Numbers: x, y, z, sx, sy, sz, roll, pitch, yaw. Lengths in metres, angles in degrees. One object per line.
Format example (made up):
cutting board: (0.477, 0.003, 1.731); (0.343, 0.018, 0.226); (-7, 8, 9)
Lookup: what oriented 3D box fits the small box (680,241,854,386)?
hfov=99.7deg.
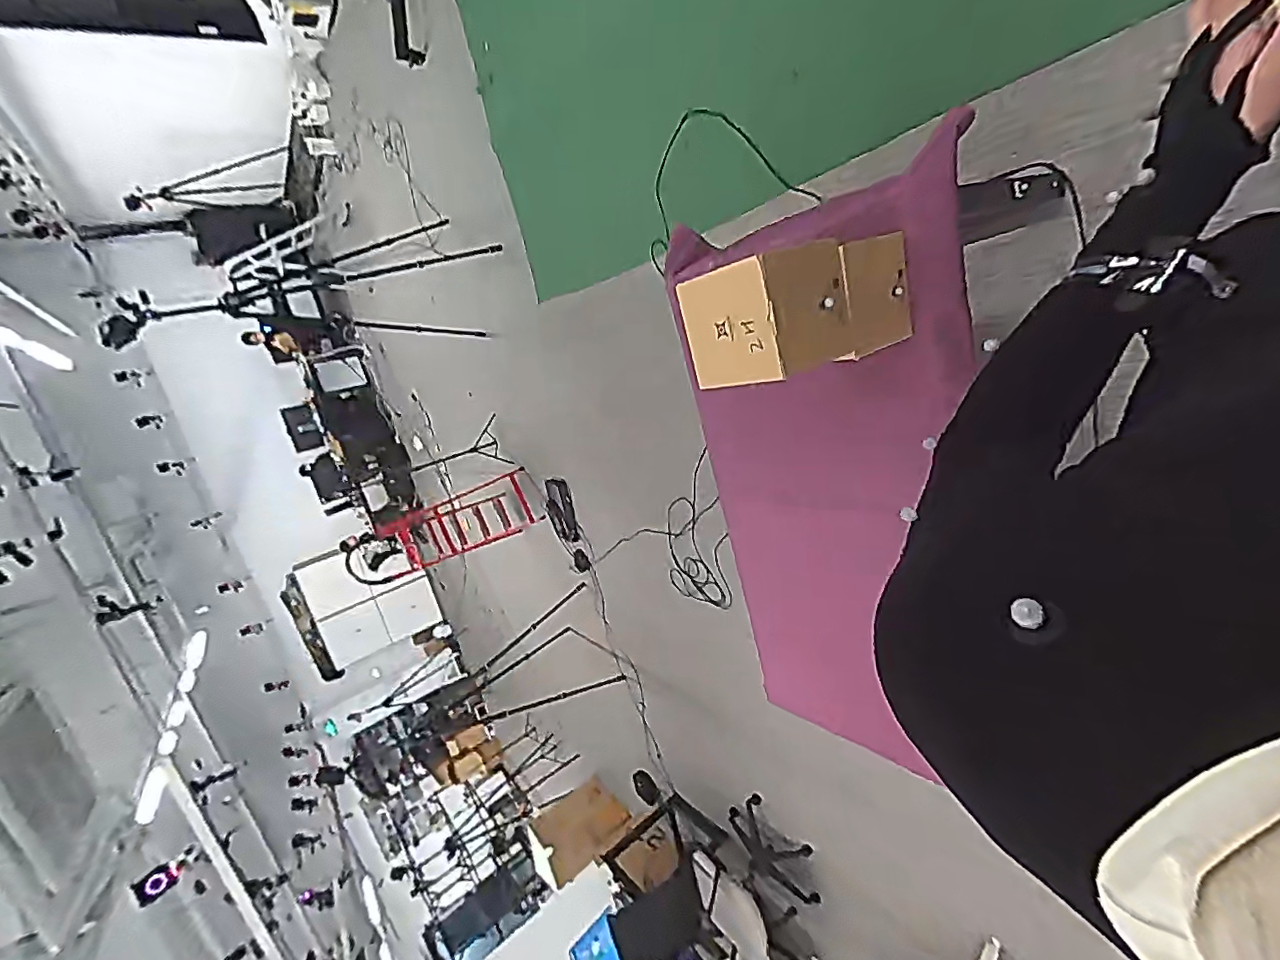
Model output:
small box: (0.192, -0.248, 0.820); (0.179, 0.176, 0.168); (7, 117, 55)
